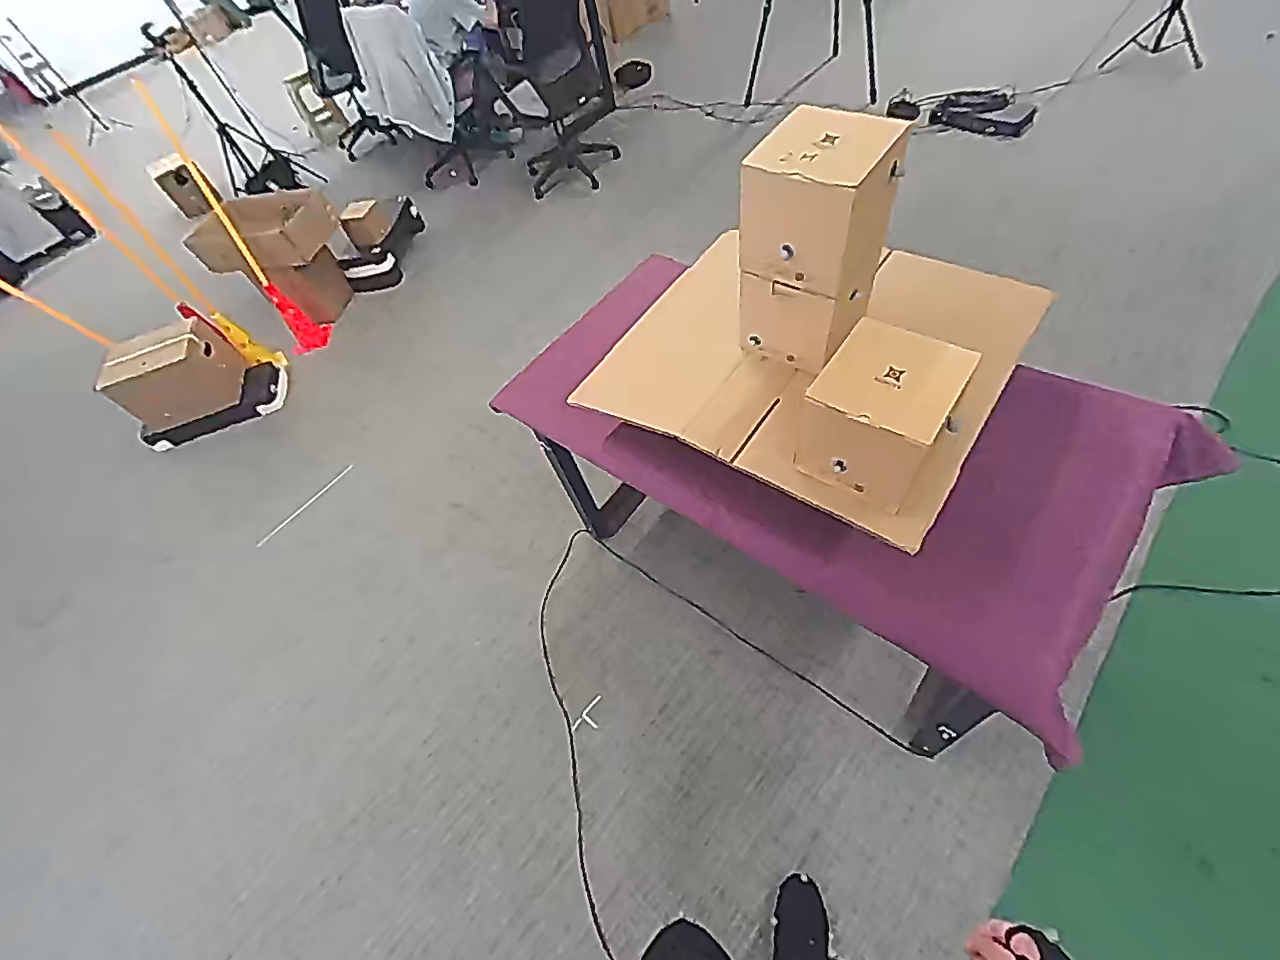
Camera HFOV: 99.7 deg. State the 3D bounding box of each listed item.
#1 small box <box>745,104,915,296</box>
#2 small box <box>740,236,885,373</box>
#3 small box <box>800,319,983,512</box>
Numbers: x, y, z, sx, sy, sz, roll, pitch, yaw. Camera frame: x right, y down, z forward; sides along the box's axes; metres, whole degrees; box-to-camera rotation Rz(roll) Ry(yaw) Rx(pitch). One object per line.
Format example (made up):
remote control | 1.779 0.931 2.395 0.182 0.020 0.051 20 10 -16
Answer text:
small box | 0.264 -0.406 0.789 0.168 0.176 0.179 29 67 26
small box | 0.287 -0.314 0.923 0.168 0.176 0.179 29 66 25
small box | 0.342 -0.089 0.767 0.168 0.176 0.179 29 67 26
